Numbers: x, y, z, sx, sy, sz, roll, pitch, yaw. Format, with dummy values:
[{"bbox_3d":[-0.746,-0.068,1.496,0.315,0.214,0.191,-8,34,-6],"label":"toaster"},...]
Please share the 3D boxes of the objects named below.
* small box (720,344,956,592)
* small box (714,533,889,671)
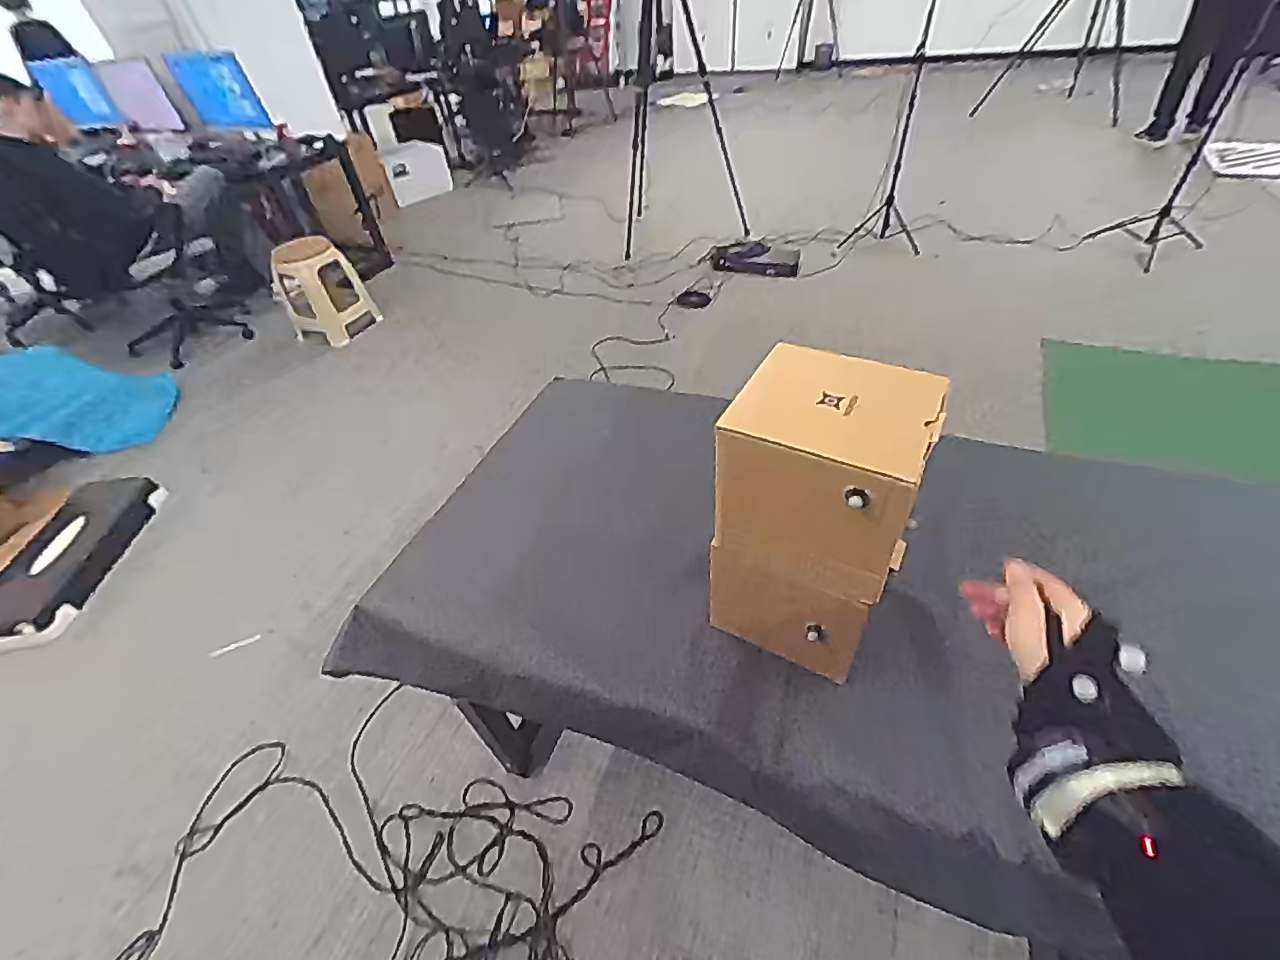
[{"bbox_3d":[0.192,-0.014,0.557,0.179,0.176,0.168,20,49,24],"label":"small box"},{"bbox_3d":[0.204,0.106,0.666,0.179,0.176,0.168,19,48,25],"label":"small box"}]
